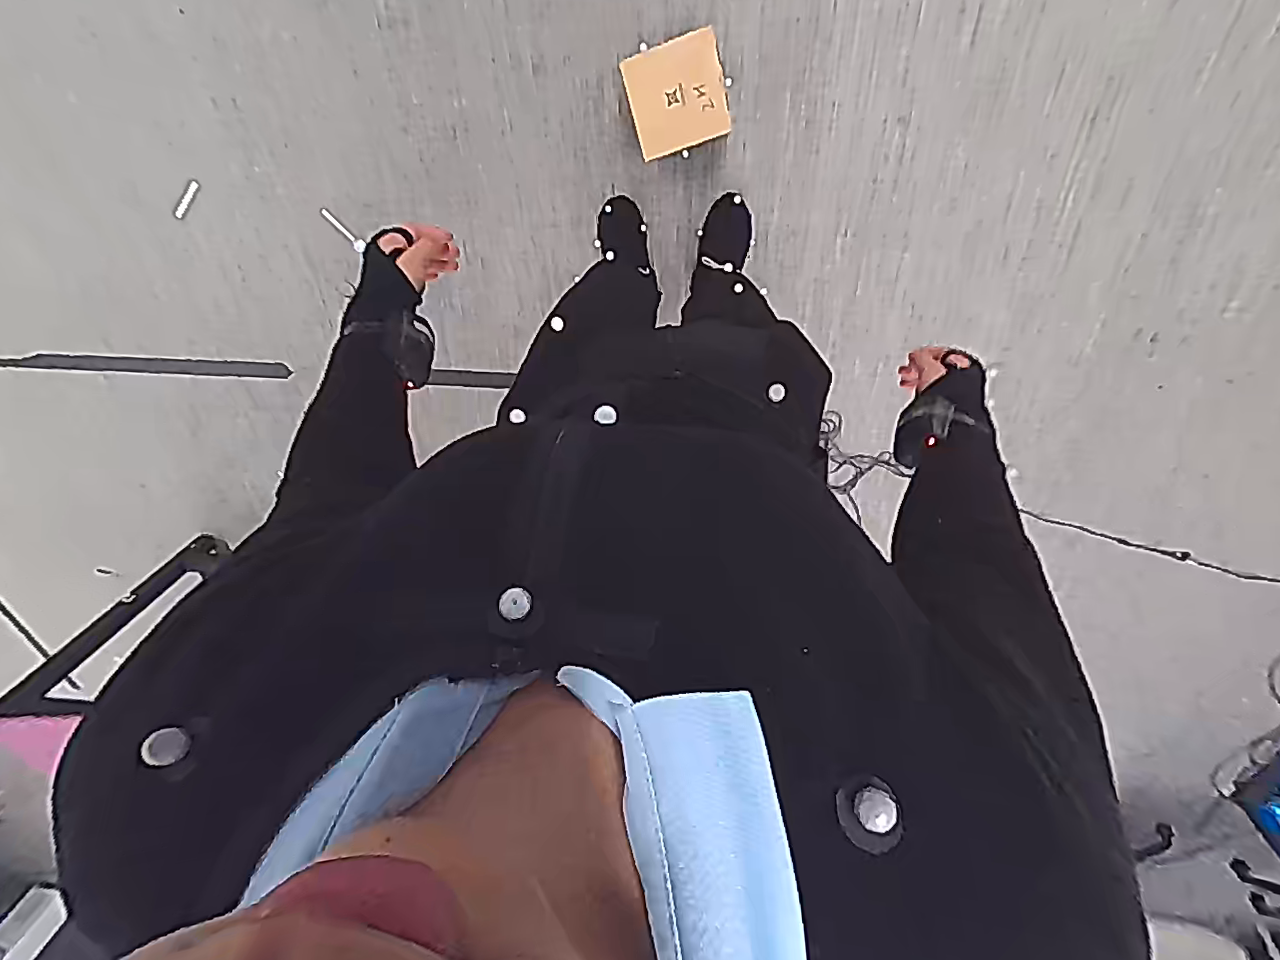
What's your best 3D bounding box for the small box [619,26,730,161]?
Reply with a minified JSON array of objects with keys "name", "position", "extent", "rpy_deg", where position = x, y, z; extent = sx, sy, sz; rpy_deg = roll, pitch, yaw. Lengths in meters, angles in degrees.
[{"name":"small box","position":[0.075,-0.740,1.055],"extent":[0.179,0.176,0.168],"rpy_deg":[-11,120,14]}]
